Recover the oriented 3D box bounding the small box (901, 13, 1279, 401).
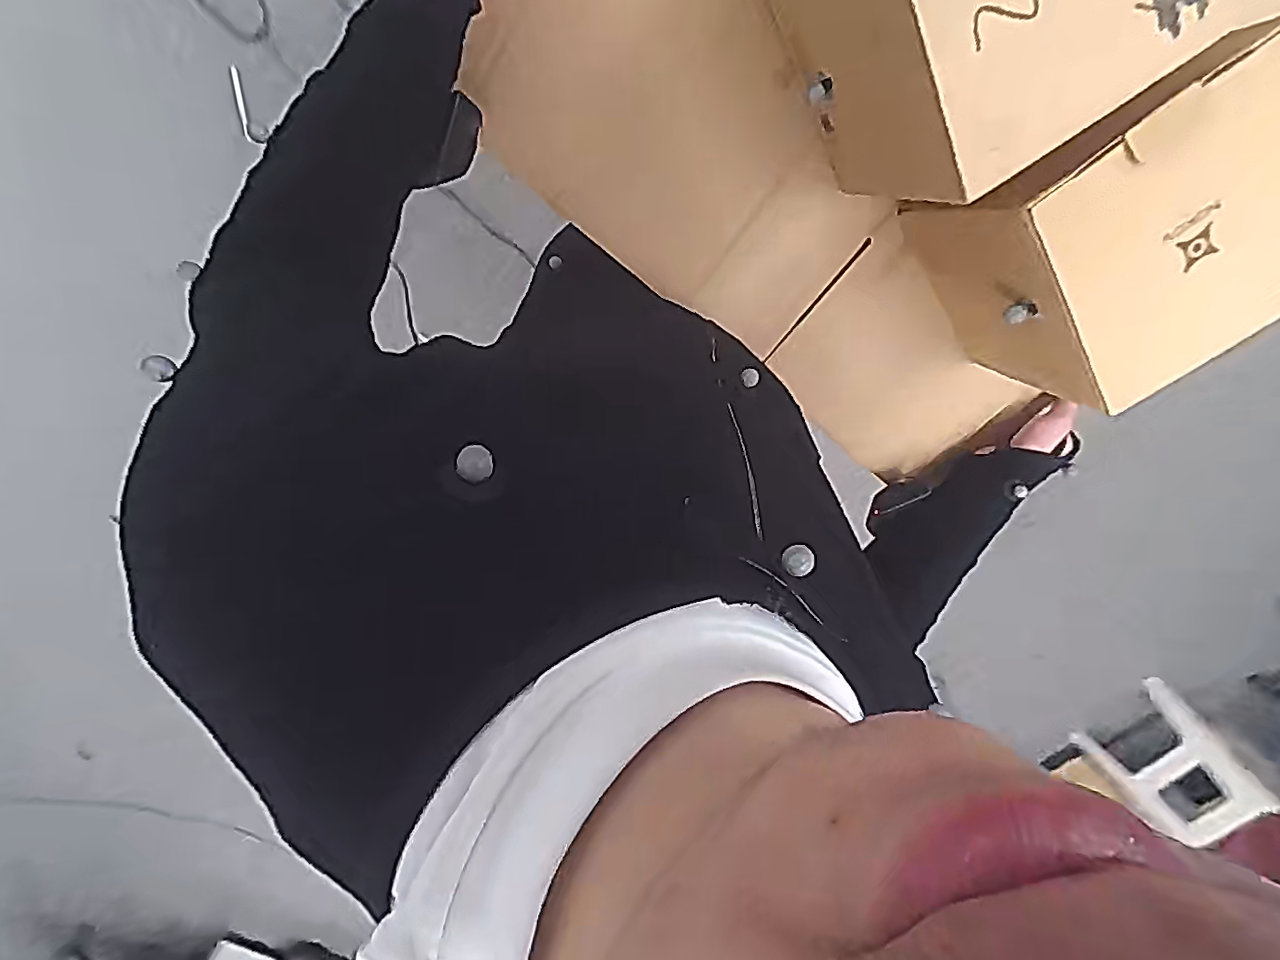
[{"bbox_3d":[0.349,-0.198,0.428,0.168,0.176,0.179,-37,111,14],"label":"small box"}]
